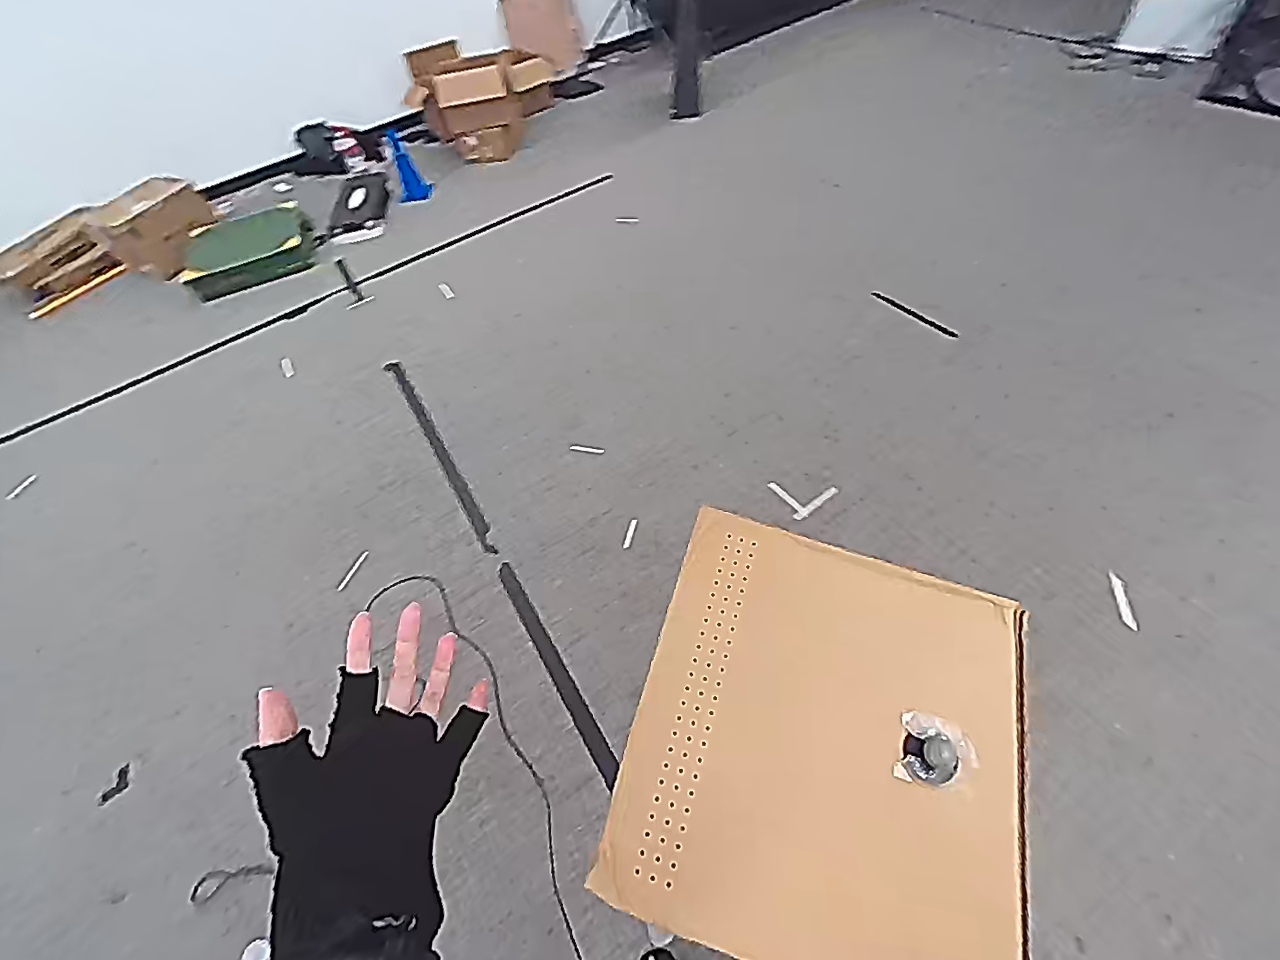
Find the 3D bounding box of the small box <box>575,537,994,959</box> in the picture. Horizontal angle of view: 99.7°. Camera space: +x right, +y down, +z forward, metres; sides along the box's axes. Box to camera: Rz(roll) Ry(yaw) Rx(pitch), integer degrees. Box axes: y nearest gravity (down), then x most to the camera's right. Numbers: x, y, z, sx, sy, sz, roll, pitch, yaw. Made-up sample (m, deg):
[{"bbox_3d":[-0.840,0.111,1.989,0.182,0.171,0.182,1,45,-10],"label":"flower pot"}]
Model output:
[{"bbox_3d":[0.071,0.154,0.316,0.176,0.168,0.179,16,62,8],"label":"small box"}]
